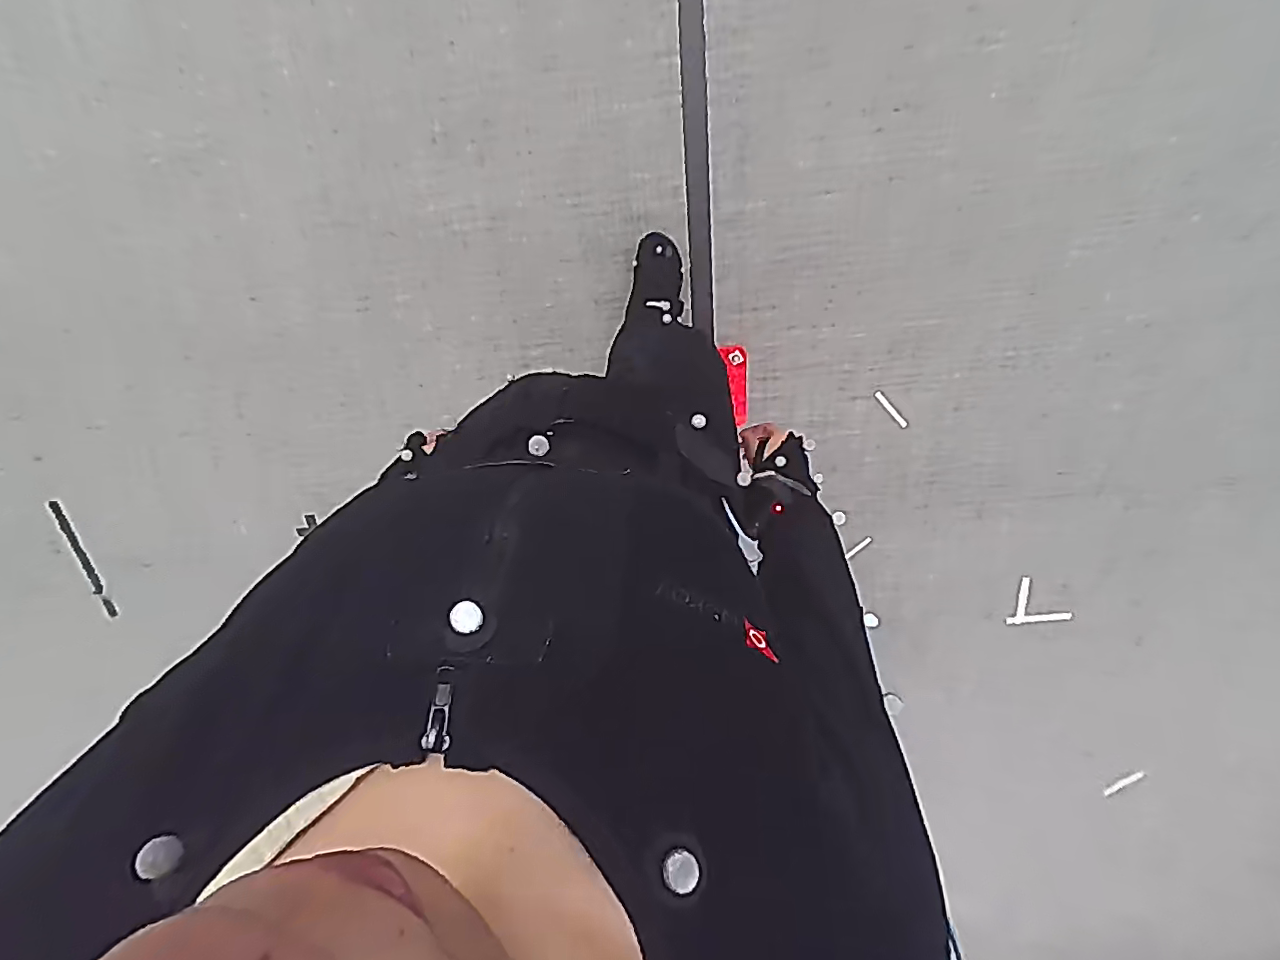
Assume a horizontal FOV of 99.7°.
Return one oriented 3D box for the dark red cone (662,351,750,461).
[{"bbox_3d":[0.147,-0.135,1.128,0.201,0.394,0.202,-4,114,6],"label":"dark red cone"}]
